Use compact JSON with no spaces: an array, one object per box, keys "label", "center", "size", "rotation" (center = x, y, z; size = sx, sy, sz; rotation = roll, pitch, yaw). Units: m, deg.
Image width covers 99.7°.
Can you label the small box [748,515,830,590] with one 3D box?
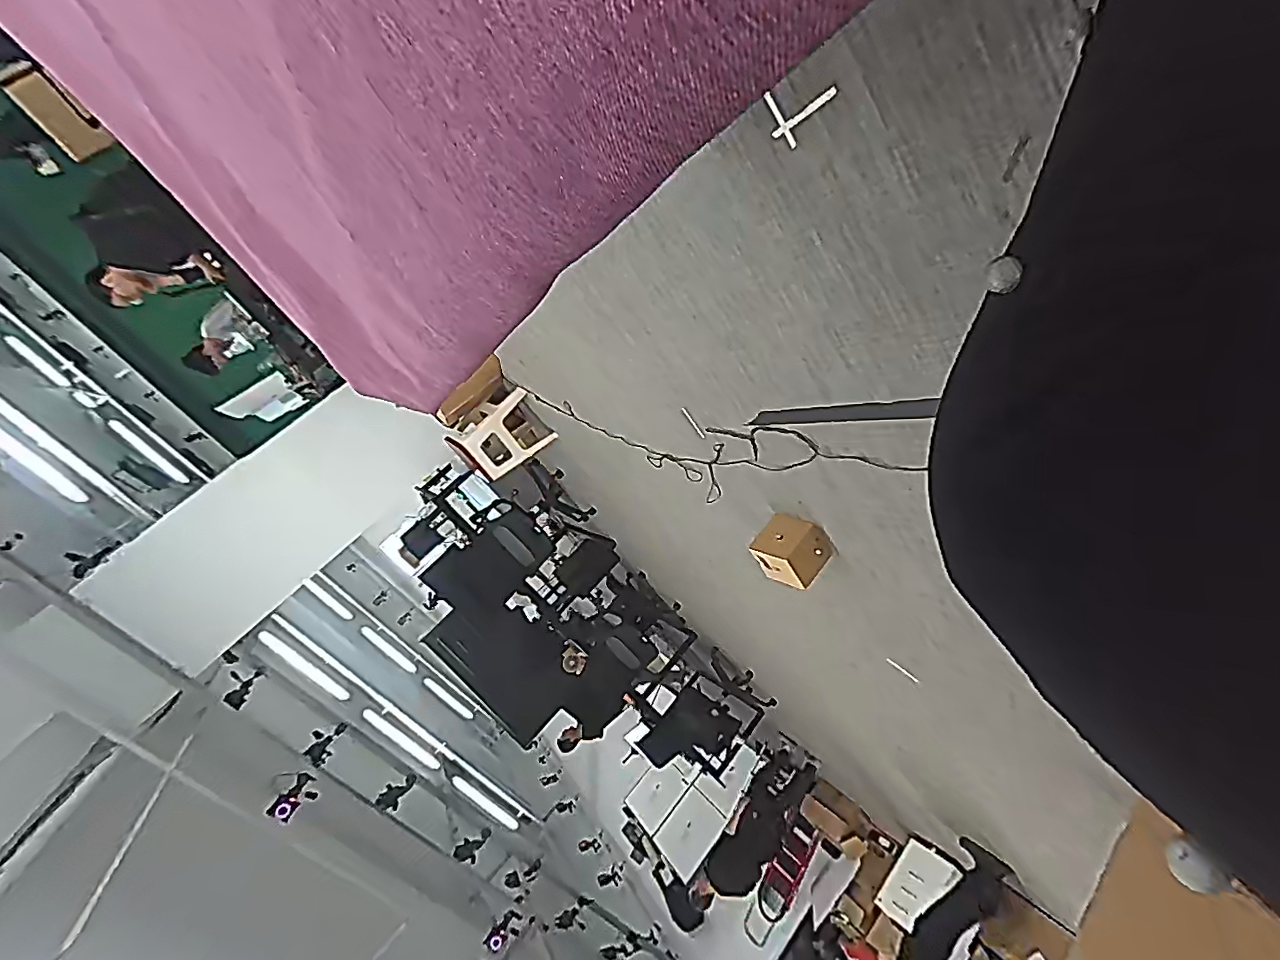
[{"label":"small box","center":[0.512,0.242,1.850],"size":[0.179,0.176,0.168],"rotation":[13,146,56]}]
